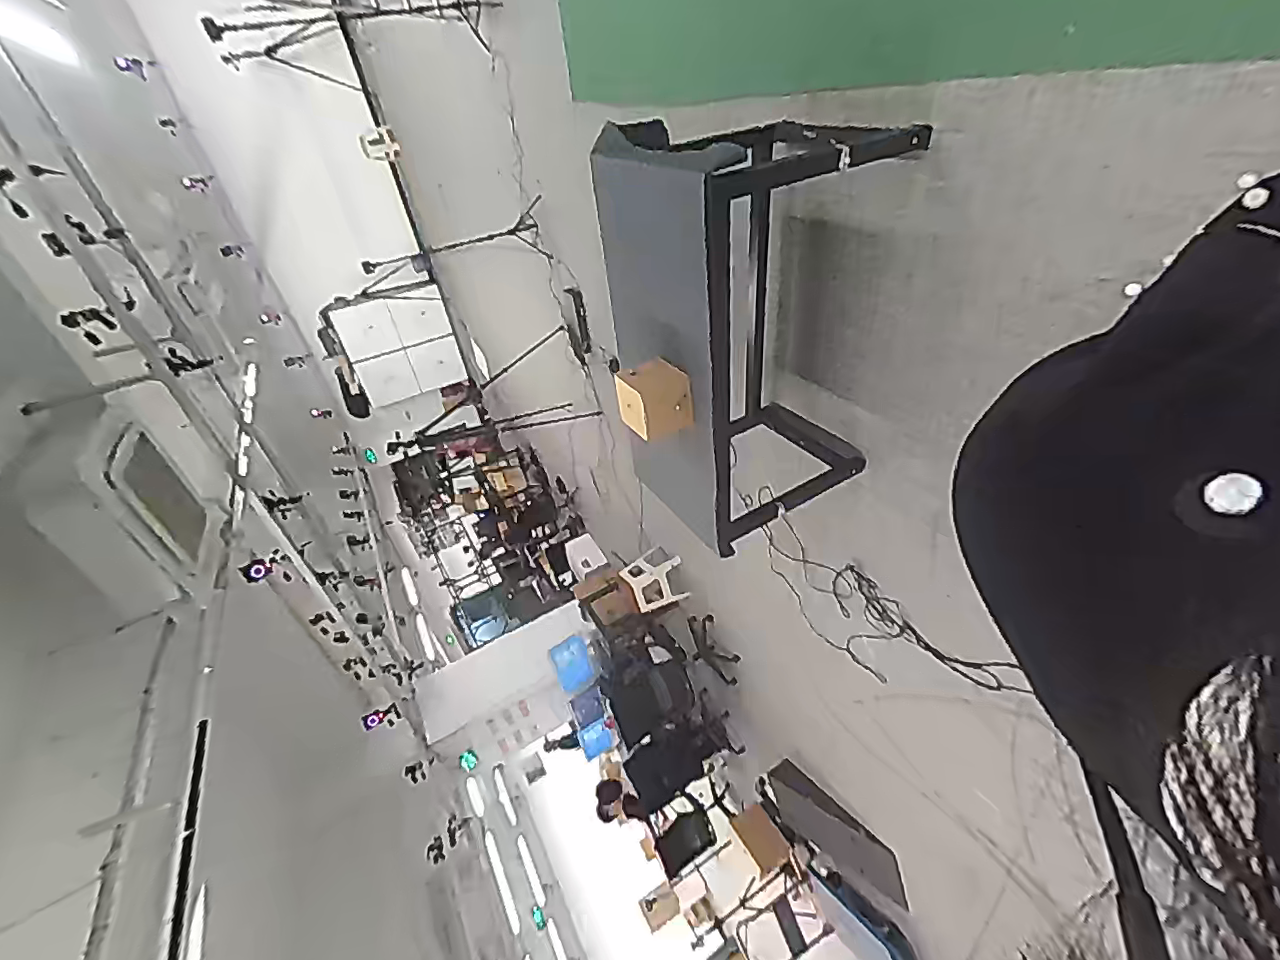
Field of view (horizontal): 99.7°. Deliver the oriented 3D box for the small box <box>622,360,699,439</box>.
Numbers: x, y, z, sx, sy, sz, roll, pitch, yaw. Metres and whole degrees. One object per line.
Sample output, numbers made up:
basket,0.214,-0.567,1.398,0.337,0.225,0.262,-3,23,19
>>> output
small box,0.065,-0.256,1.674,0.179,0.176,0.168,44,153,47
